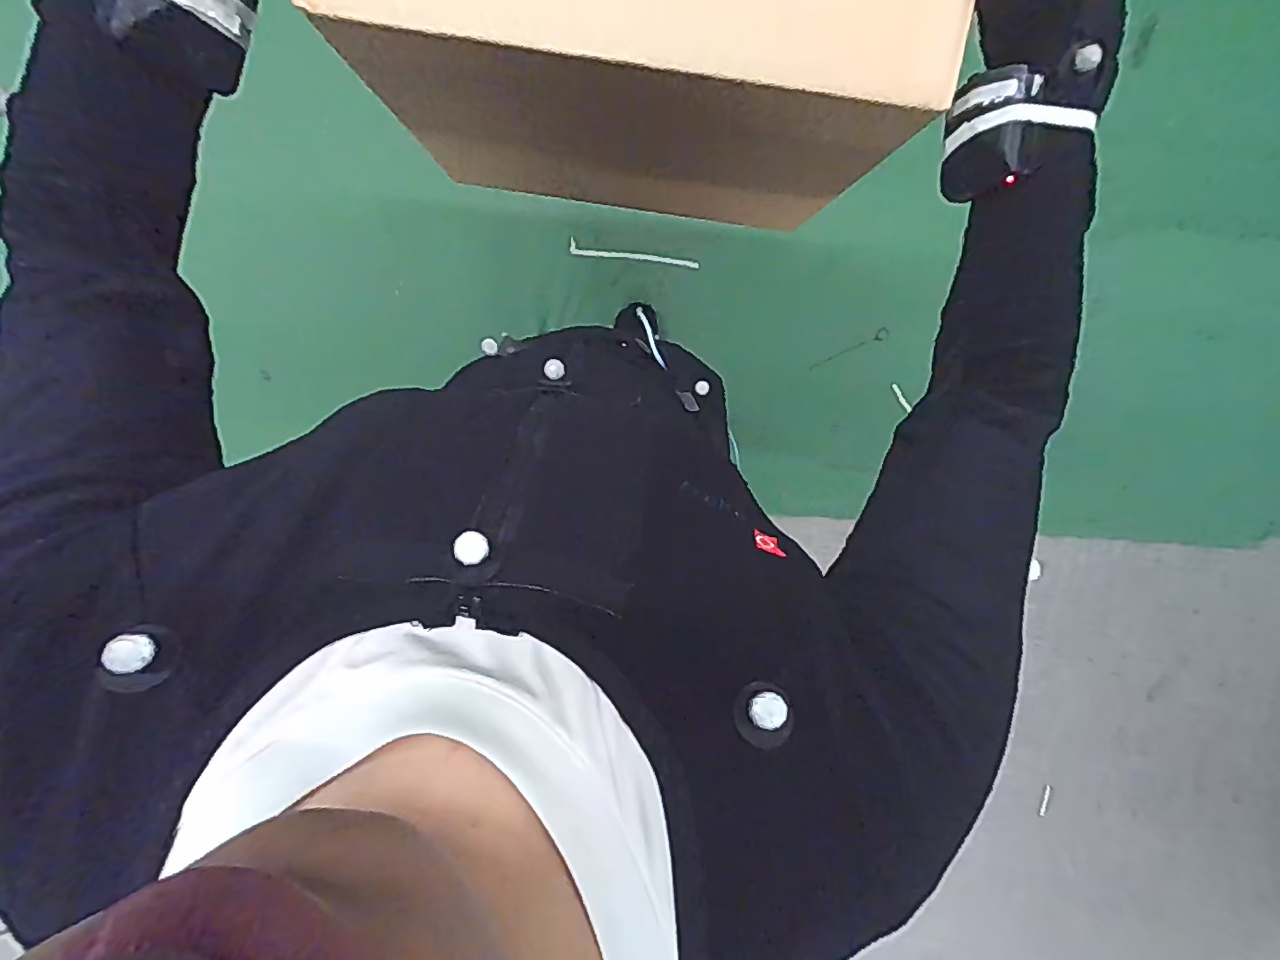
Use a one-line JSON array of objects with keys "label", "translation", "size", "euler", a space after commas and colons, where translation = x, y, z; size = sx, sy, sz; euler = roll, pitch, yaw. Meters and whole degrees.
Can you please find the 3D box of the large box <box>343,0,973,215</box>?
[{"label": "large box", "translation": [0.017, -0.449, 0.457], "size": [0.408, 0.320, 0.320], "euler": [6, 102, -5]}]
